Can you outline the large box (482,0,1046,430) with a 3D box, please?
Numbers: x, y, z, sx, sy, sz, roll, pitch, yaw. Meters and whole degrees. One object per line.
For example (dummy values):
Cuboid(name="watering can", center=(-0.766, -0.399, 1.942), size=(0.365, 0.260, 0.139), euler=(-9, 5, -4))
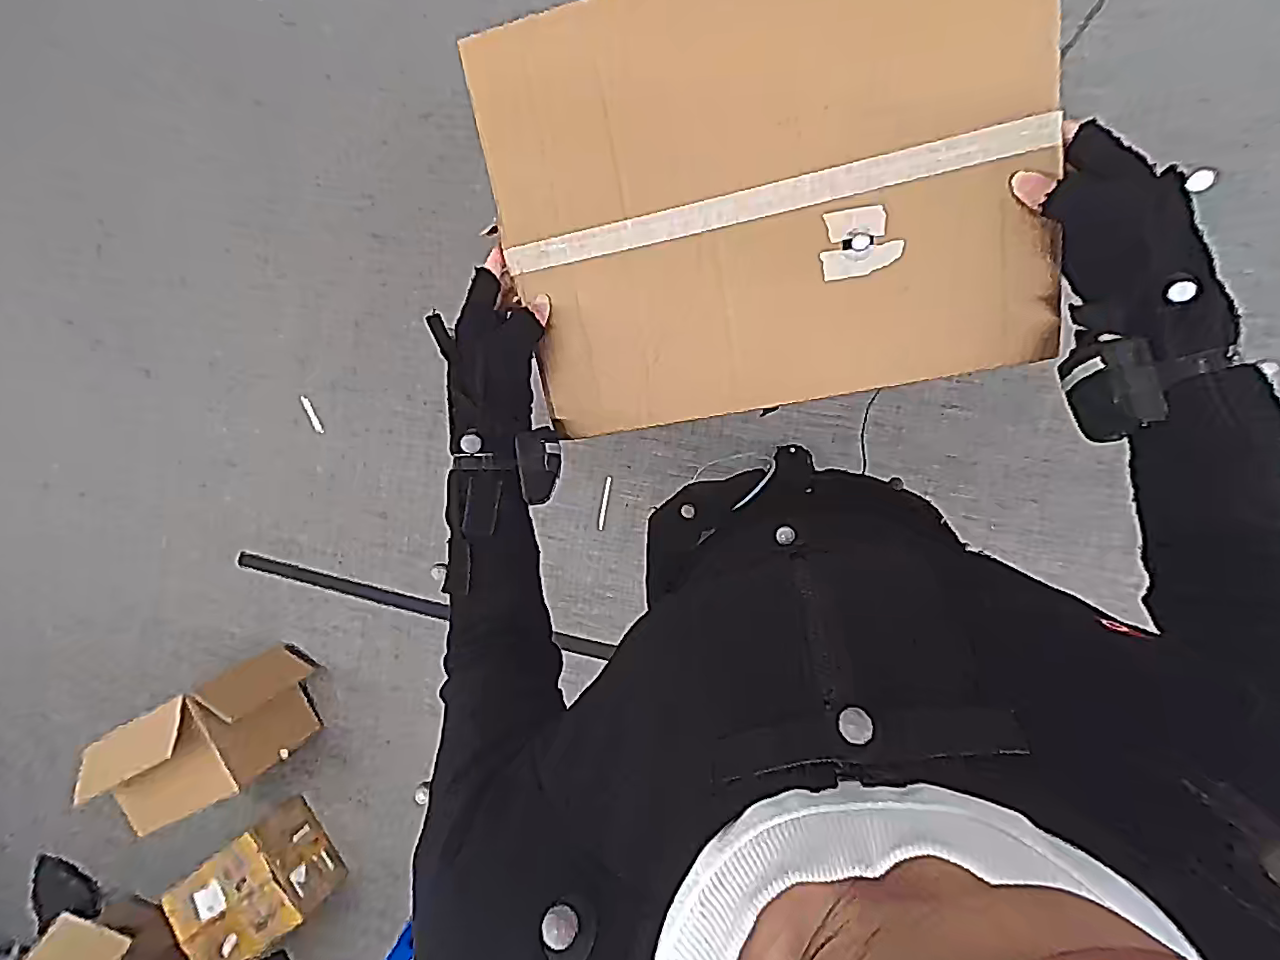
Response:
Cuboid(name="large box", center=(0.115, -0.262, 0.564), size=(0.408, 0.320, 0.320), euler=(-8, 106, 11))
